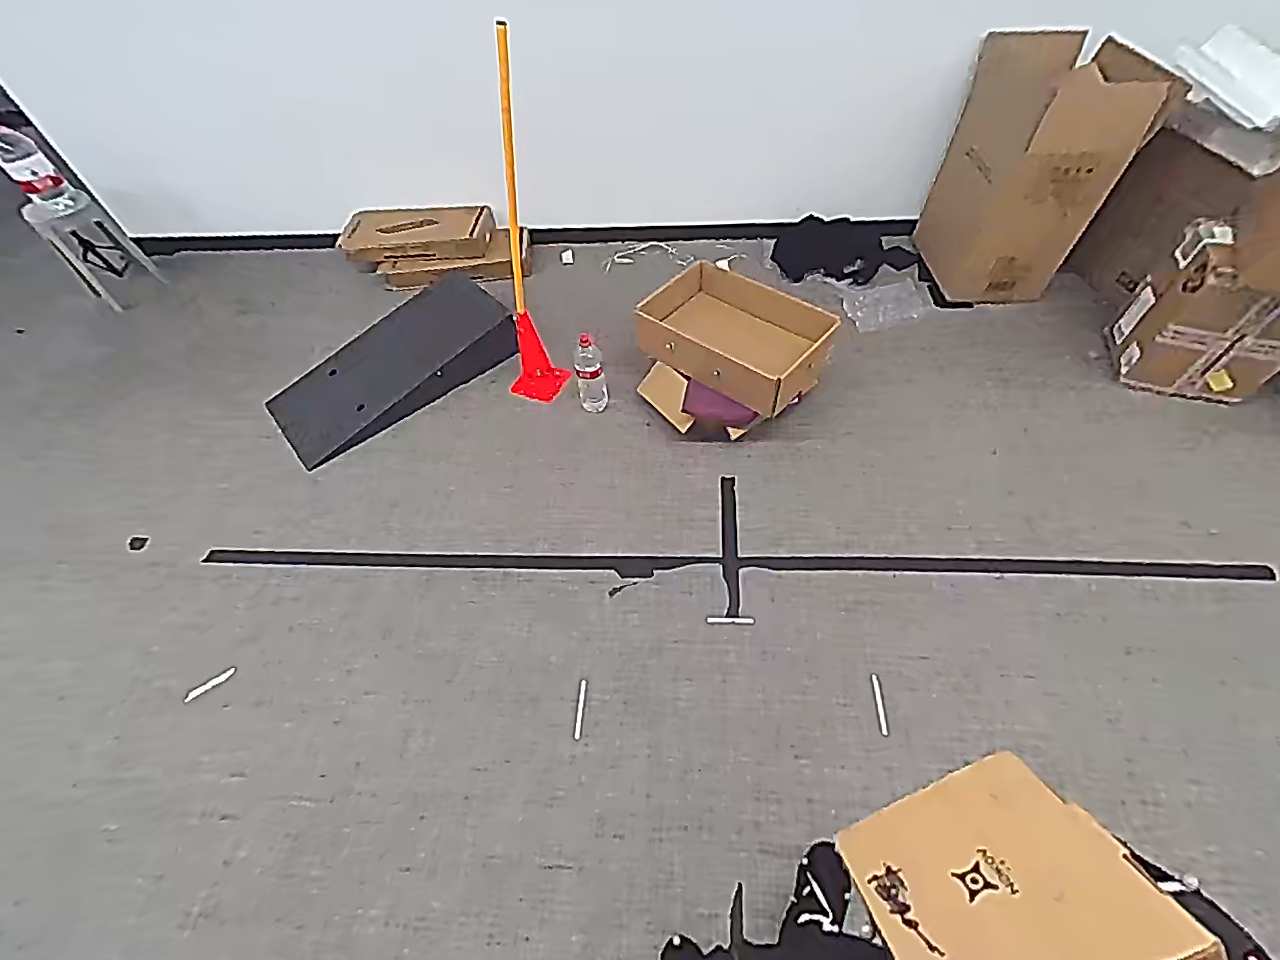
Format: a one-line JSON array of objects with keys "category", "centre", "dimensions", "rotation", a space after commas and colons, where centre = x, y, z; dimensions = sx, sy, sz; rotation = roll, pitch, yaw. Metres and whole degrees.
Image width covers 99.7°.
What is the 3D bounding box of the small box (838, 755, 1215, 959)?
[{"category": "small box", "centre": [0.293, 0.368, 0.423], "dimensions": [0.179, 0.176, 0.168], "rotation": [-26, 12, 0]}]
